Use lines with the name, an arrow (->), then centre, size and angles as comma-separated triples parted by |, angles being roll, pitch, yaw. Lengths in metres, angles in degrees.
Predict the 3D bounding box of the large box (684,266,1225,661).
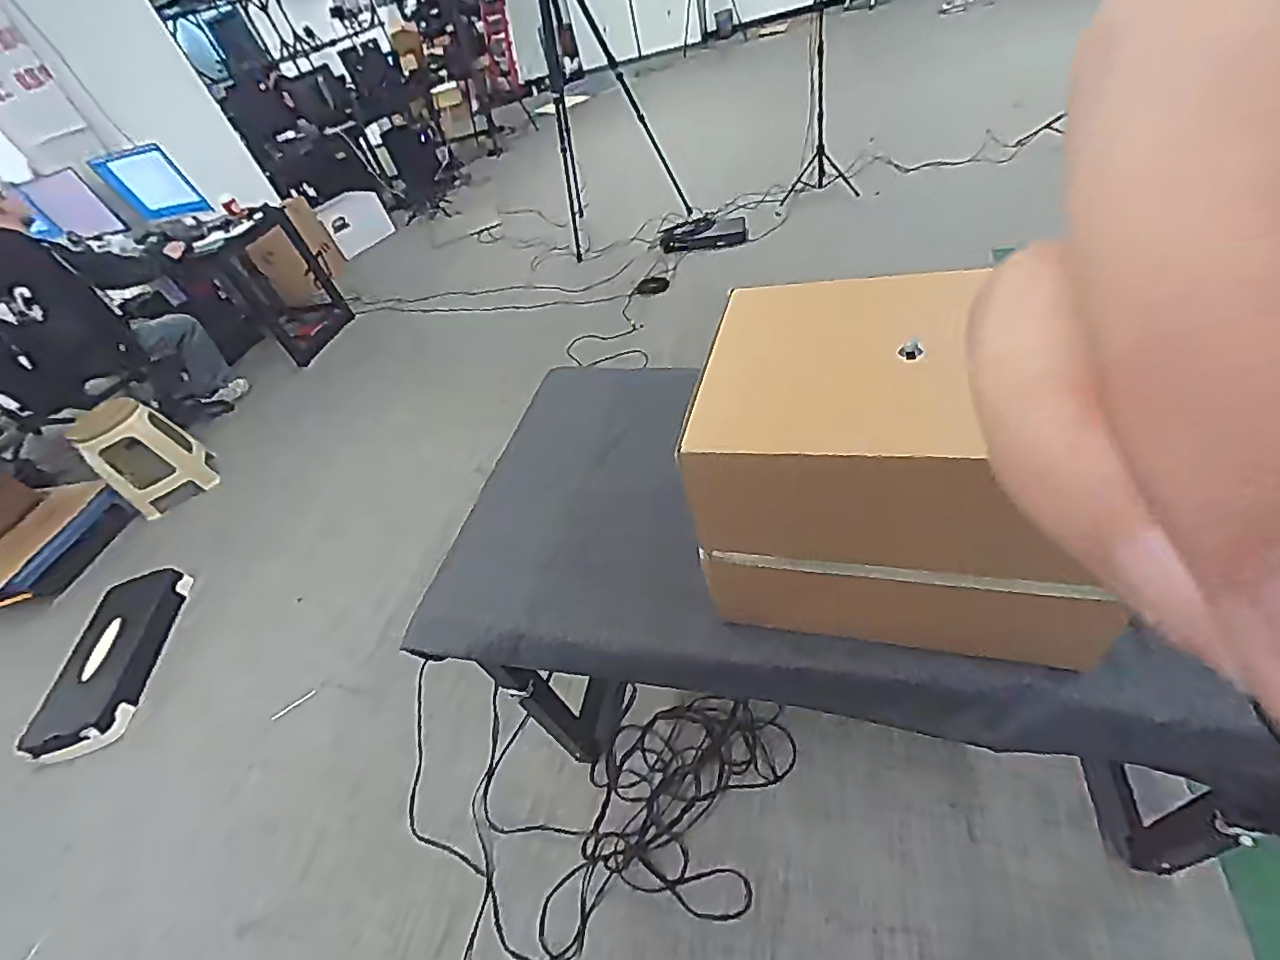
large box -> 0.295, -0.020, 0.637 | 0.408, 0.320, 0.320 | 2, 47, 19
